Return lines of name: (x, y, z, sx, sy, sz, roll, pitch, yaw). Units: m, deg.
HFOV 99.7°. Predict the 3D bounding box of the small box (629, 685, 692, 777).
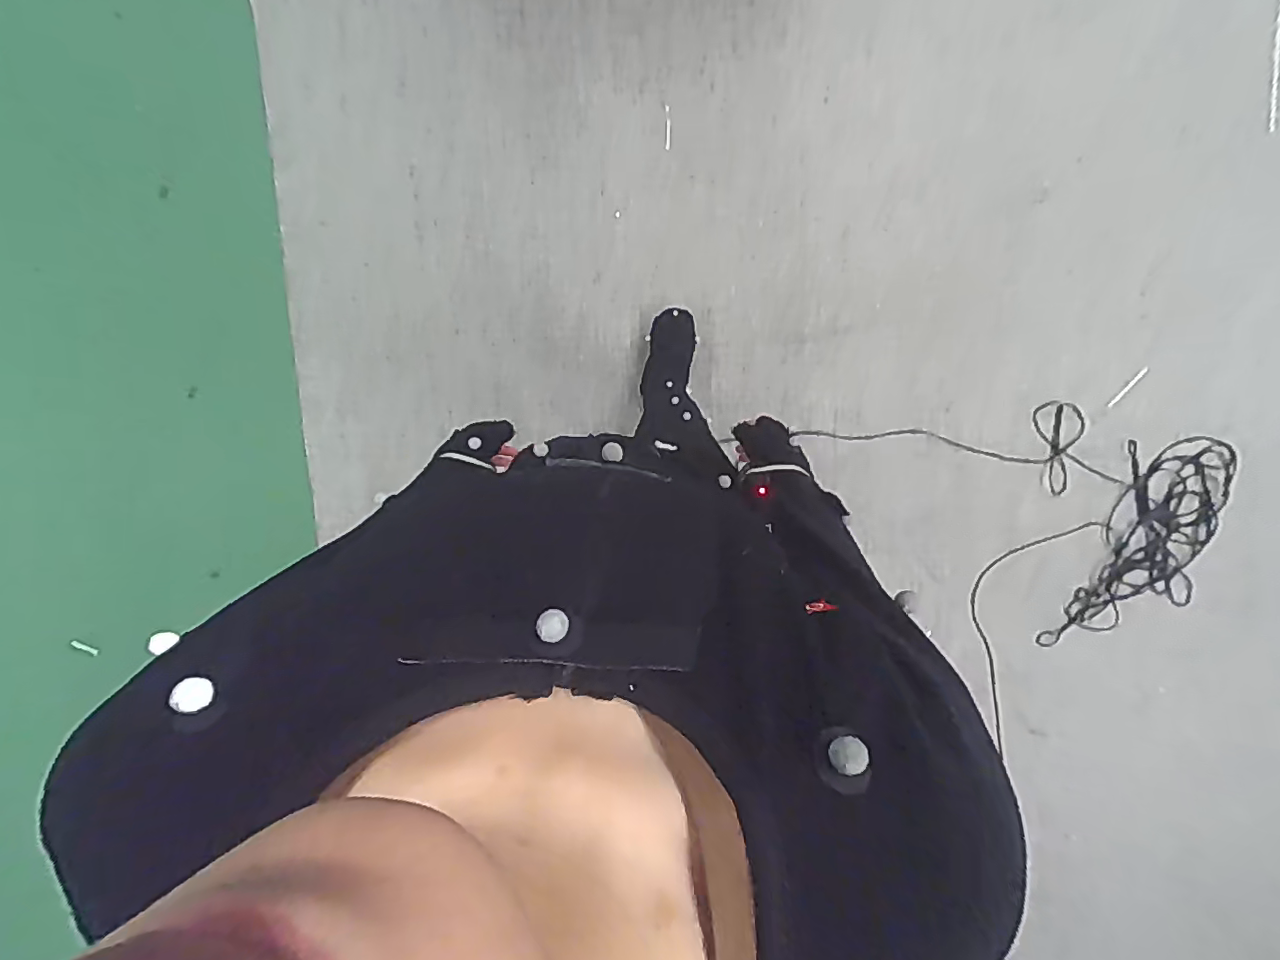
small box: (0.052, 0.674, 1.471, 0.168, 0.176, 0.179, -2, 97, 0)
